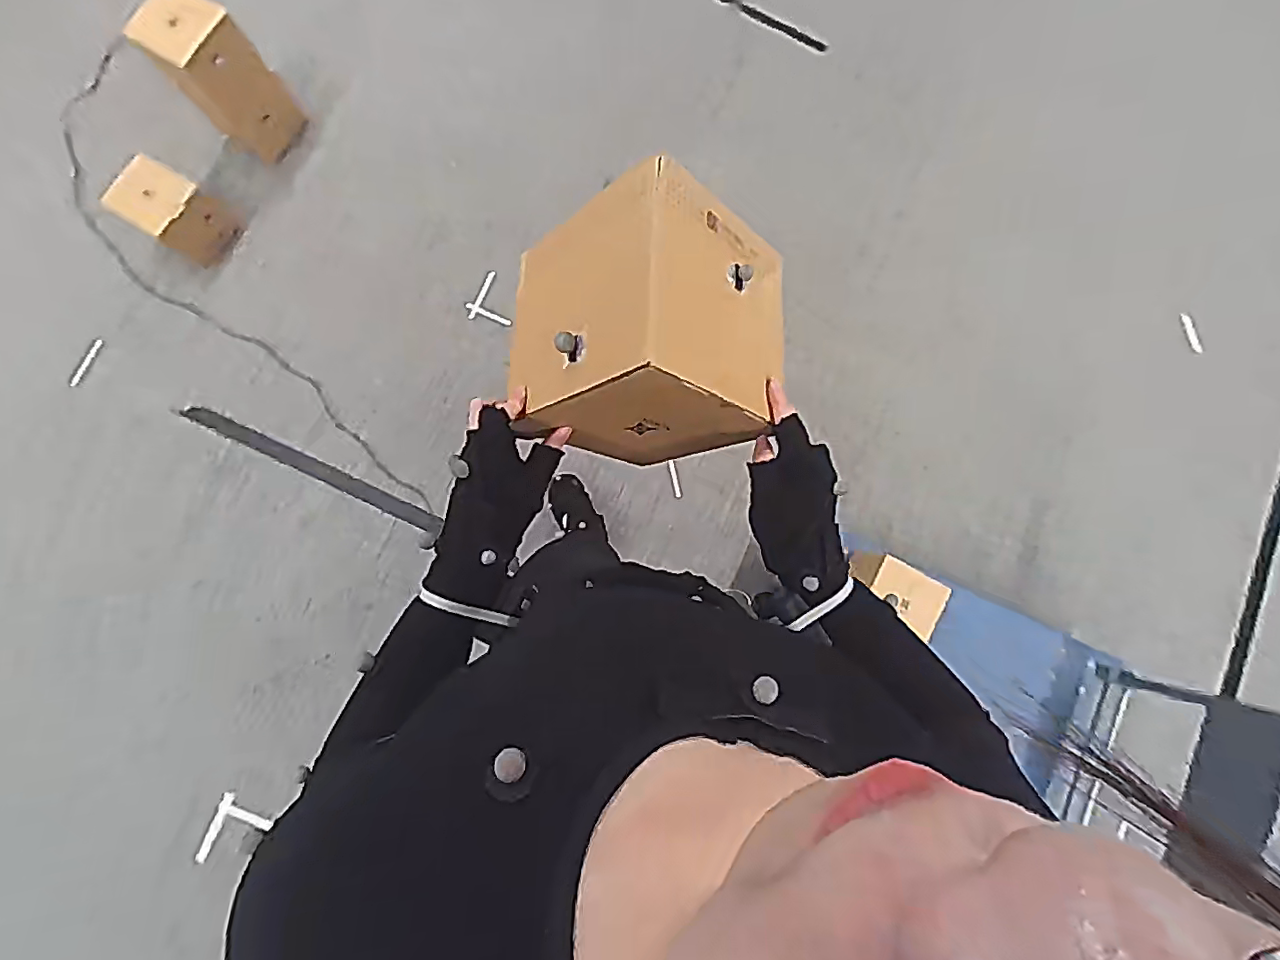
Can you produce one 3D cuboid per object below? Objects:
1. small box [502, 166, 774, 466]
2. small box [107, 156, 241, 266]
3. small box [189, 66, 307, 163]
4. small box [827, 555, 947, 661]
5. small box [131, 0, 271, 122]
[{"bbox_3d":[0.001,-0.123,0.476,0.168,0.179,0.176,14,71,-43],"label":"small box"},{"bbox_3d":[-1.236,-0.709,1.452,0.179,0.176,0.168,32,82,1],"label":"small box"},{"bbox_3d":[-1.071,-1.029,1.495,0.168,0.176,0.179,29,83,0],"label":"small box"},{"bbox_3d":[0.565,0.289,1.263,0.168,0.176,0.179,29,83,-1],"label":"small box"},{"bbox_3d":[-1.064,-1.038,1.329,0.168,0.176,0.179,30,82,0],"label":"small box"}]
